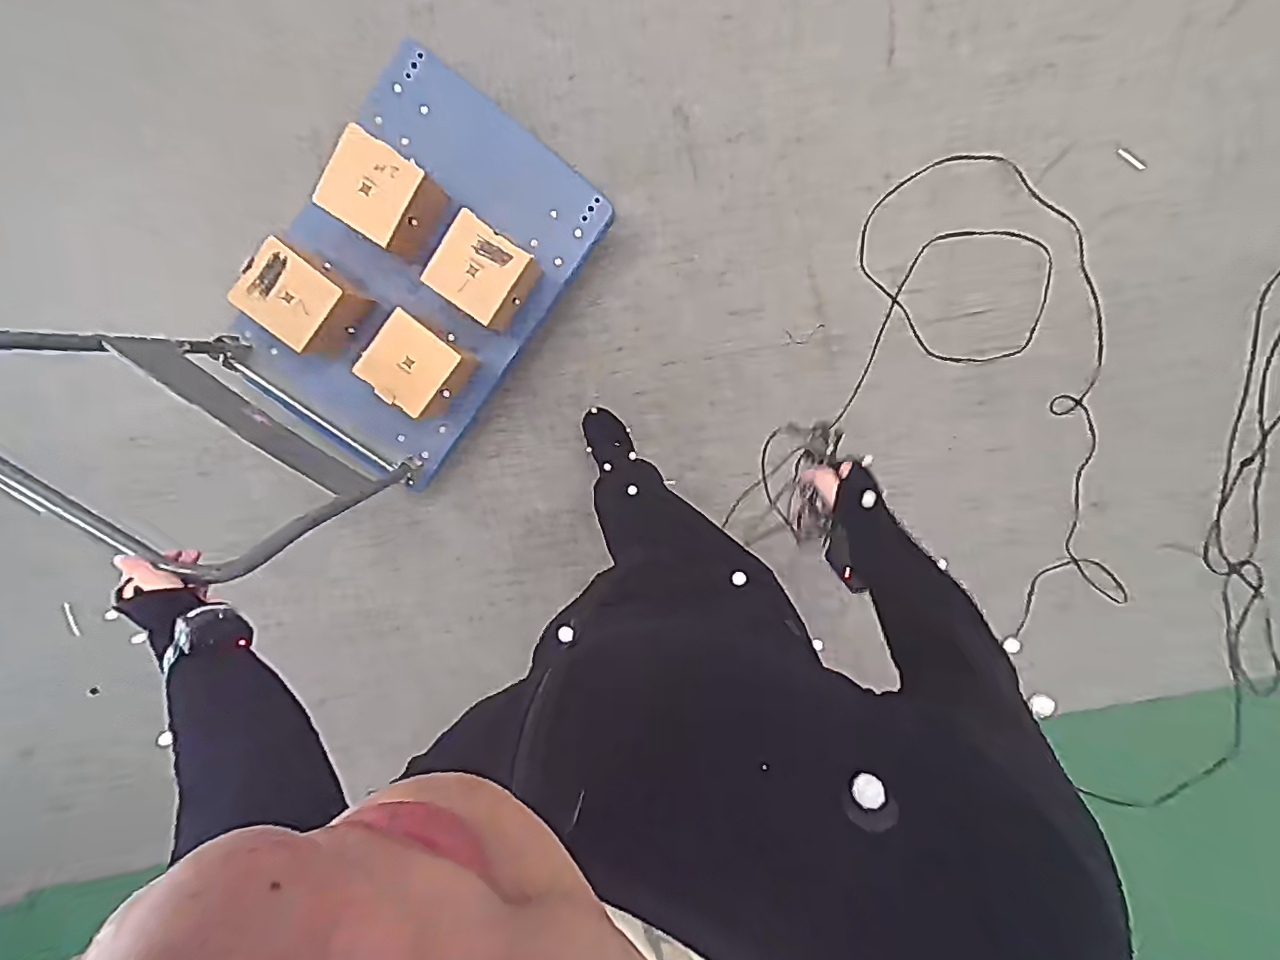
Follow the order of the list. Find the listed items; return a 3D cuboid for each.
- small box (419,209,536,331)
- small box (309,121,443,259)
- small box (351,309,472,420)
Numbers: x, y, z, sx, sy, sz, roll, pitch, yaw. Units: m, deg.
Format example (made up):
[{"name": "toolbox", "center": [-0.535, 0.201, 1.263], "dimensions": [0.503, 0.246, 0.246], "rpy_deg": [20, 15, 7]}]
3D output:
[{"name": "small box", "center": [-0.345, -0.450, 1.189], "dimensions": [0.168, 0.176, 0.179], "rpy_deg": [35, 99, -8]}, {"name": "small box", "center": [-0.548, -0.600, 1.149], "dimensions": [0.168, 0.176, 0.179], "rpy_deg": [33, 99, -9]}, {"name": "small box", "center": [-0.503, -0.261, 1.225], "dimensions": [0.168, 0.176, 0.179], "rpy_deg": [38, 98, -9]}]
